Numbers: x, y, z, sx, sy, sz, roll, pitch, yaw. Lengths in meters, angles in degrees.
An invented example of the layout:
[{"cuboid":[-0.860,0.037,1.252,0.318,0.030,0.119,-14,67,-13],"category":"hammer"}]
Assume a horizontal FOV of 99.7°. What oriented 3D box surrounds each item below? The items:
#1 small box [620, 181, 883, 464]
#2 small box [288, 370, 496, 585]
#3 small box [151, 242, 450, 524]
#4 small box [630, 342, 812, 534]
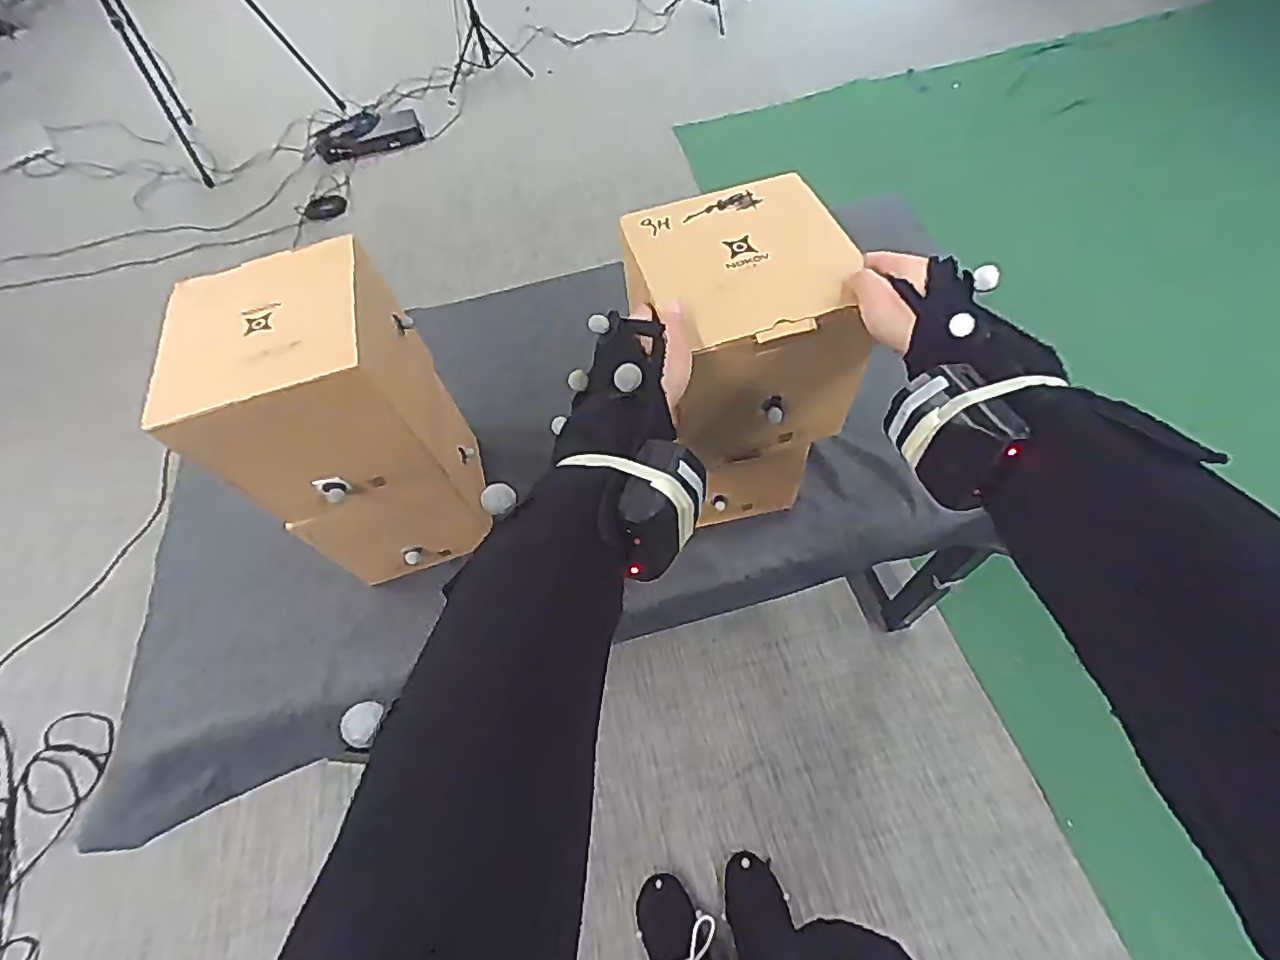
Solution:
[{"cuboid":[0.089,-0.132,0.502,0.168,0.176,0.179,-15,59,-3],"category":"small box"},{"cuboid":[-0.289,0.001,0.653,0.168,0.176,0.179,-18,59,-5],"category":"small box"},{"cuboid":[-0.299,-0.086,0.516,0.168,0.176,0.179,-19,59,-4],"category":"small box"},{"cuboid":[0.087,-0.060,0.650,0.168,0.176,0.179,-12,58,-1],"category":"small box"}]
